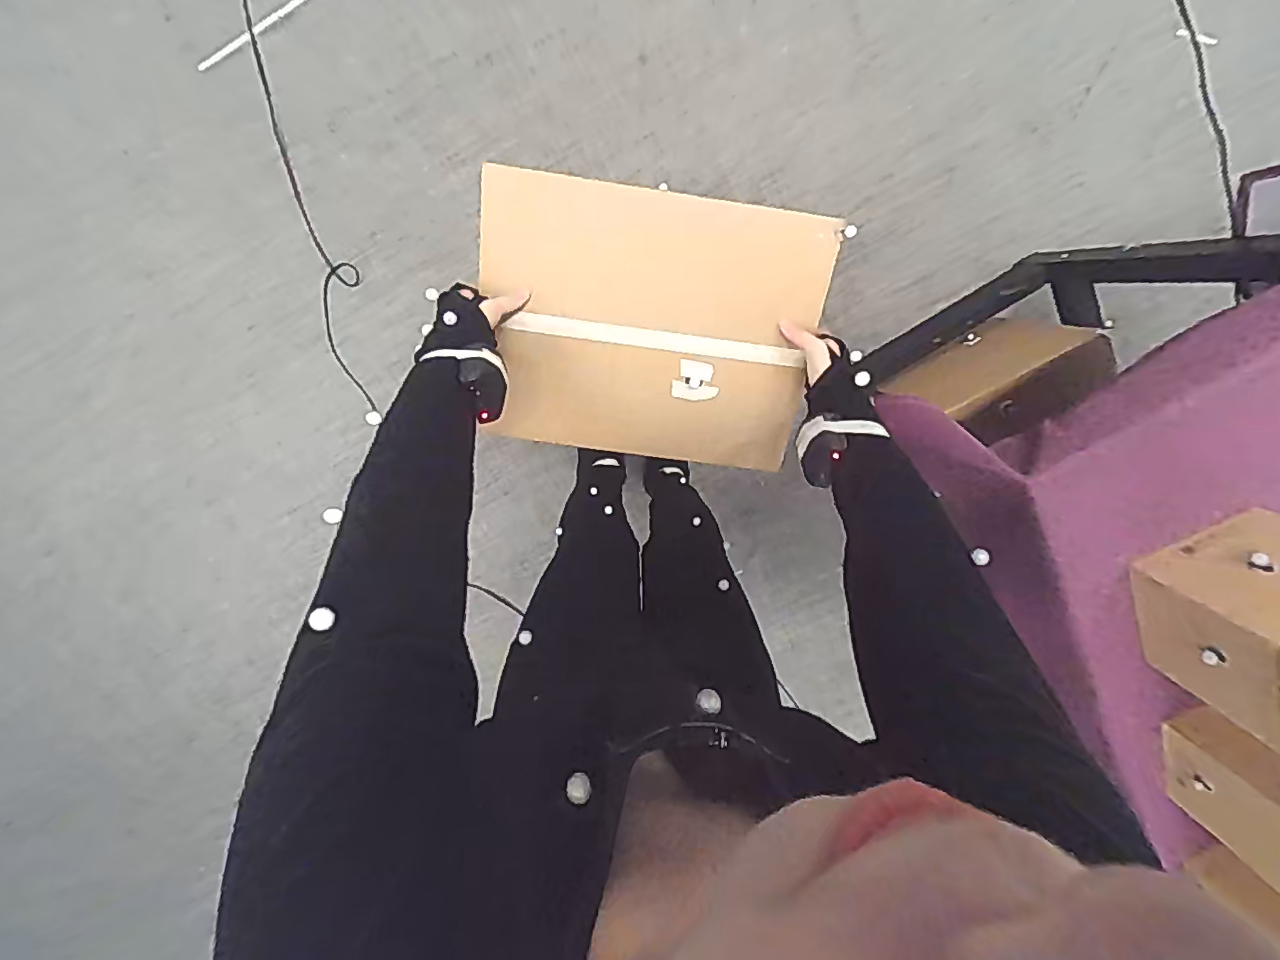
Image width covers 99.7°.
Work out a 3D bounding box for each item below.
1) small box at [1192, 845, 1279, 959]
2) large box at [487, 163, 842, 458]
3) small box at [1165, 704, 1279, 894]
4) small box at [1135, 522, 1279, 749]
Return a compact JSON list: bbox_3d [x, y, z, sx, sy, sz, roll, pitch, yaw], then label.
[{"bbox_3d":[1.006,0.677,0.827,0.179,0.176,0.168,-27,110,5],"label":"small box"},{"bbox_3d":[0.011,-0.250,0.794,0.408,0.320,0.320,7,116,-4],"label":"large box"},{"bbox_3d":[0.866,0.409,0.721,0.179,0.176,0.168,-22,110,5],"label":"small box"},{"bbox_3d":[0.724,0.167,0.619,0.168,0.176,0.179,-27,109,7],"label":"small box"}]
